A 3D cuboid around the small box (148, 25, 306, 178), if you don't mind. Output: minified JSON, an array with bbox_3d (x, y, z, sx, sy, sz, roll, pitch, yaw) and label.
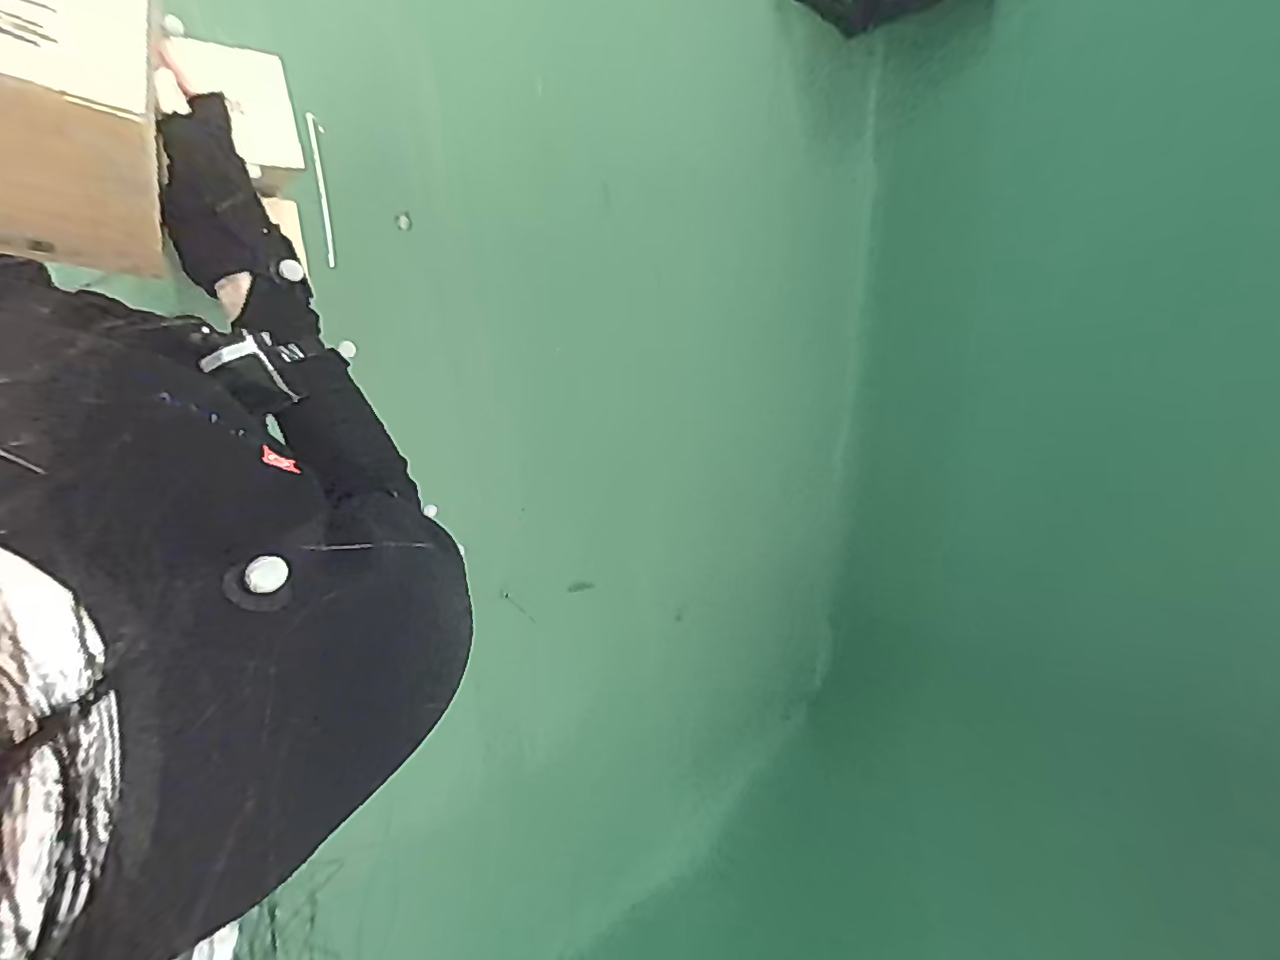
[{"bbox_3d":[-0.704,-0.627,0.923,0.179,0.176,0.168,-18,114,-37],"label":"small box"}]
